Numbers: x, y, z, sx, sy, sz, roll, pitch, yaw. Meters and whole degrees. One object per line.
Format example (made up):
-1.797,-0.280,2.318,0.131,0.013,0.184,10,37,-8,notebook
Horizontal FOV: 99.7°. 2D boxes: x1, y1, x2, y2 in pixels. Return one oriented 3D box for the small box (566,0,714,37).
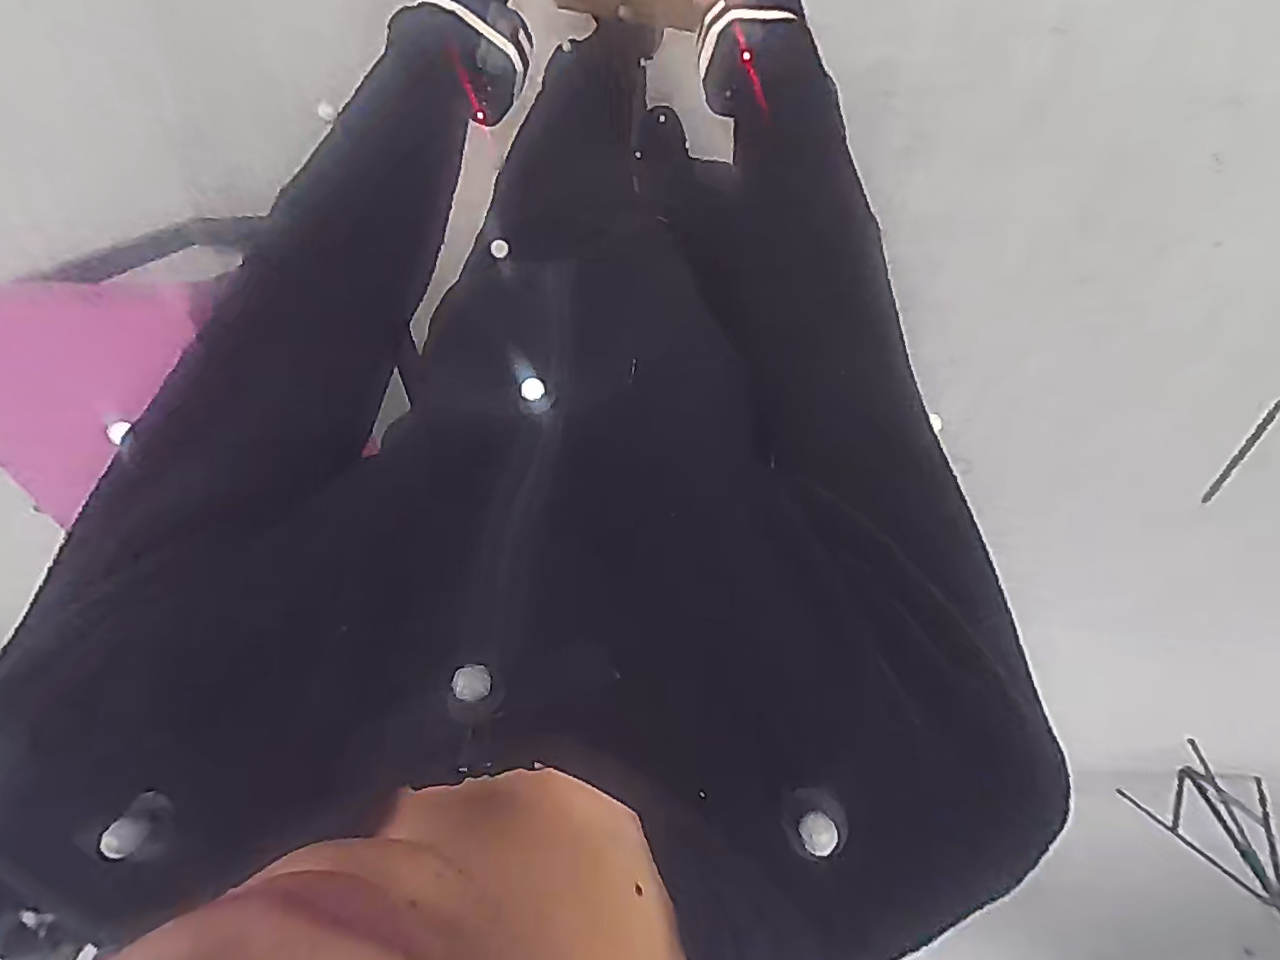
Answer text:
0.006,-0.571,0.515,0.168,0.176,0.179,6,112,-5,small box
